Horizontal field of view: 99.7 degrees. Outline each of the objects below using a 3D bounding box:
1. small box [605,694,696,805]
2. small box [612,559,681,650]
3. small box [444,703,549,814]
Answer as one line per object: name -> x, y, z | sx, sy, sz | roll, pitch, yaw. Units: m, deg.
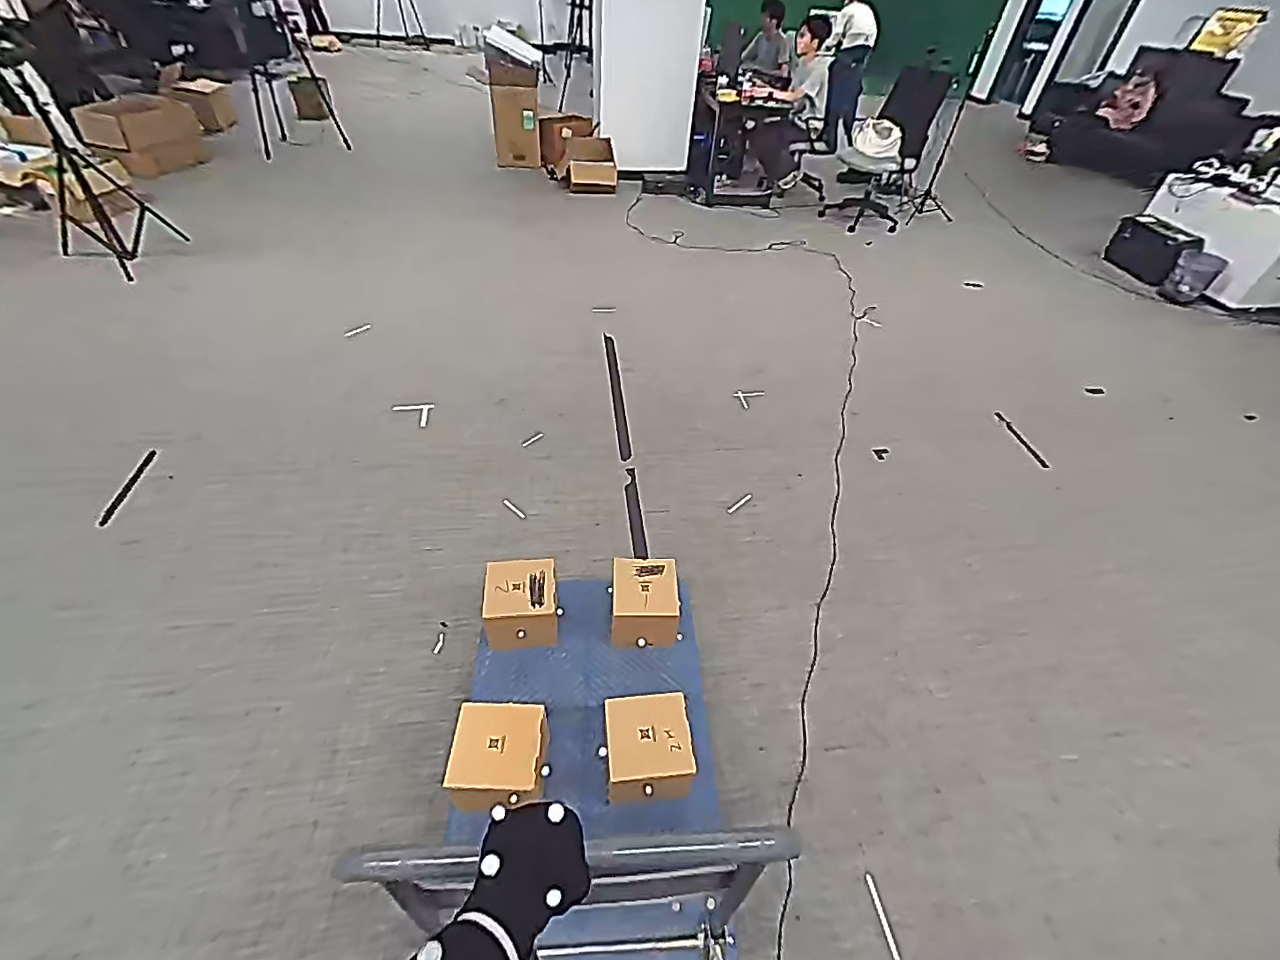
small box -> 0.016, 0.587, 1.172 | 0.179, 0.176, 0.168 | -2, 45, -6
small box -> 0.012, 0.330, 1.435 | 0.168, 0.176, 0.179 | 1, 45, -3
small box -> -0.293, 0.592, 1.145 | 0.179, 0.176, 0.168 | 3, 44, -3
